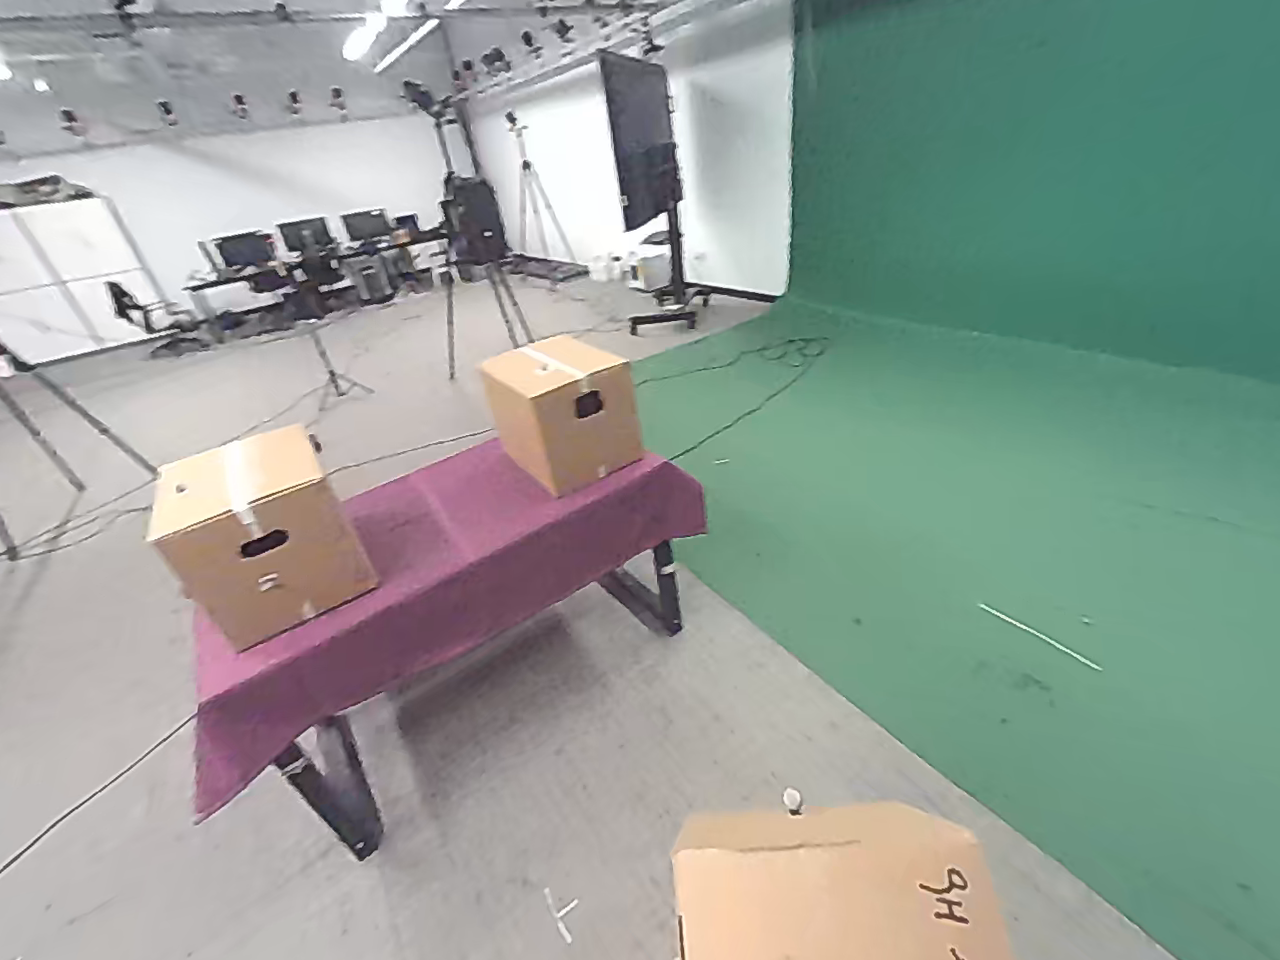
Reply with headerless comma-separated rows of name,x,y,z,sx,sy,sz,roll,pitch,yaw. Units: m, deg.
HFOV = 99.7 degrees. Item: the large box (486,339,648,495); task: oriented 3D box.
large box,-0.222,-0.209,1.653,0.320,0.320,0.408,-26,36,-25
